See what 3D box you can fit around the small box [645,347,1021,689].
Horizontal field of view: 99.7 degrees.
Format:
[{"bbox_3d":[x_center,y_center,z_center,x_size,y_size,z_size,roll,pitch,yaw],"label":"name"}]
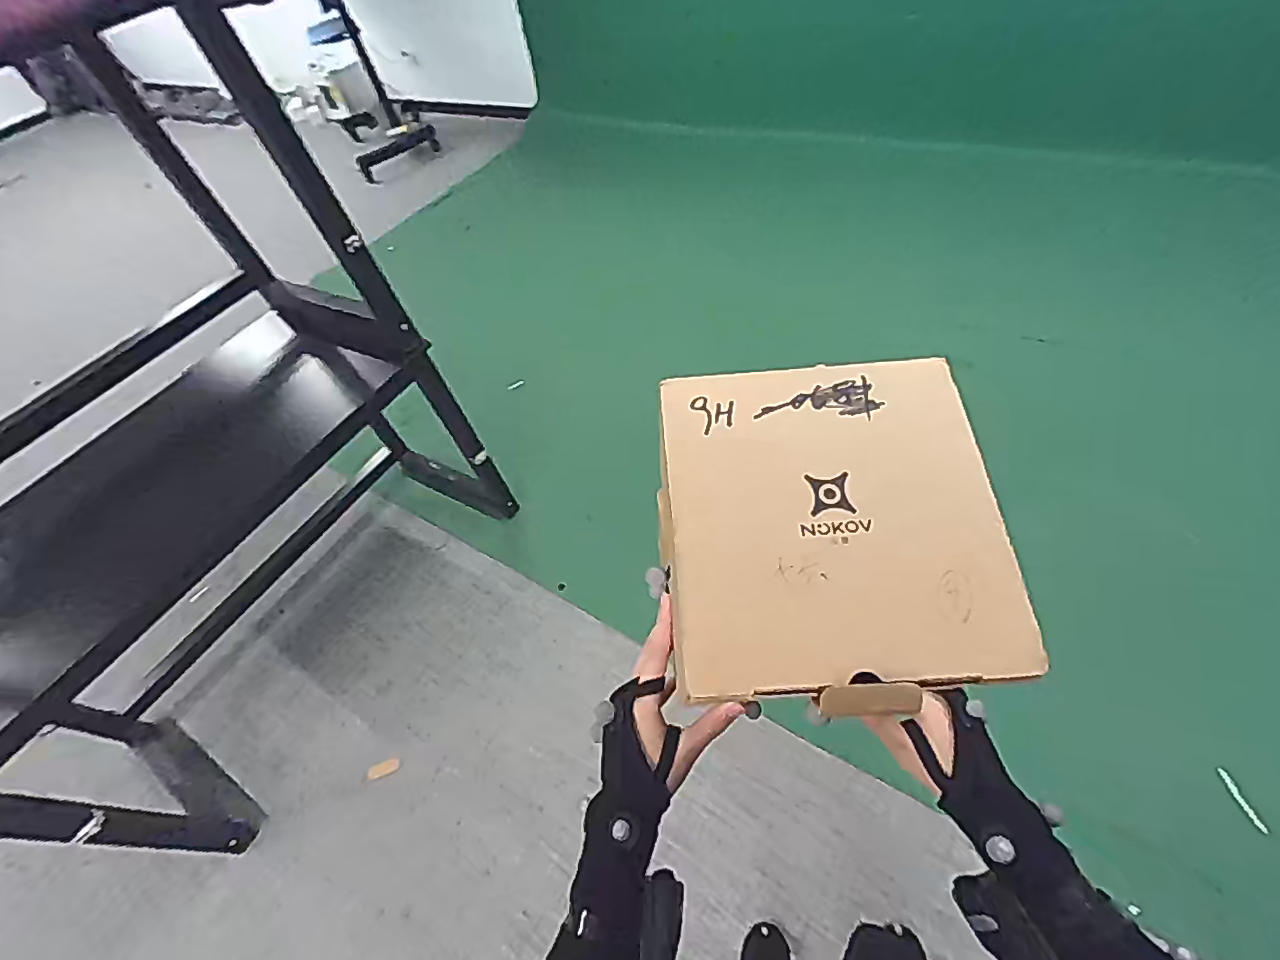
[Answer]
[{"bbox_3d":[0.092,0.039,0.351,0.168,0.176,0.179,-4,67,1],"label":"small box"}]
